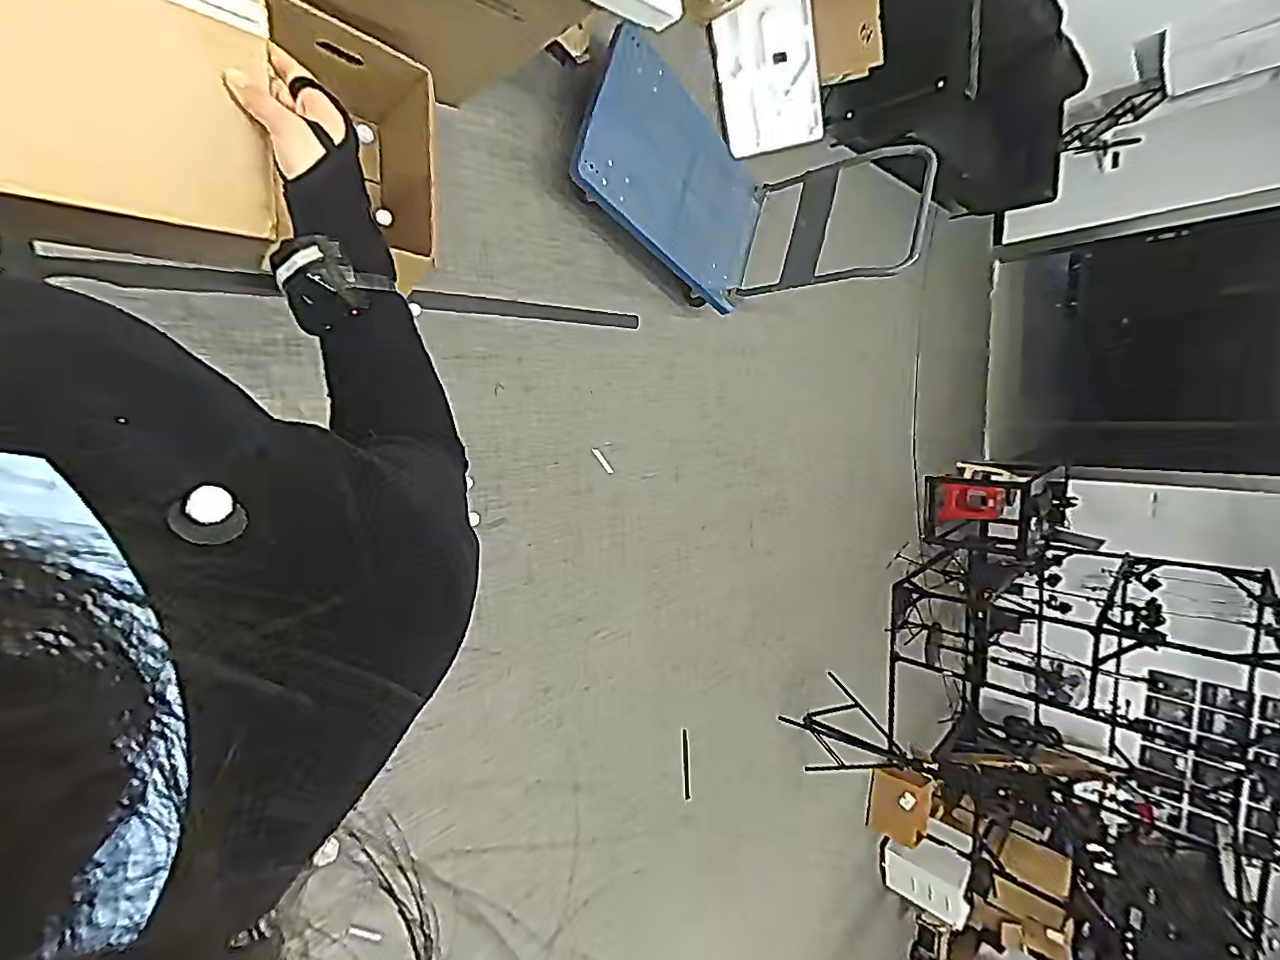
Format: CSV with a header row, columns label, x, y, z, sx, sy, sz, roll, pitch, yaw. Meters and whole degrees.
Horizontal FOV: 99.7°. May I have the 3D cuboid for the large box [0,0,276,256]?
label,x,y,z,sx,sy,sz,roll,pitch,yaw
large box,-0.548,-0.371,0.407,0.408,0.320,0.320,-7,106,-41
